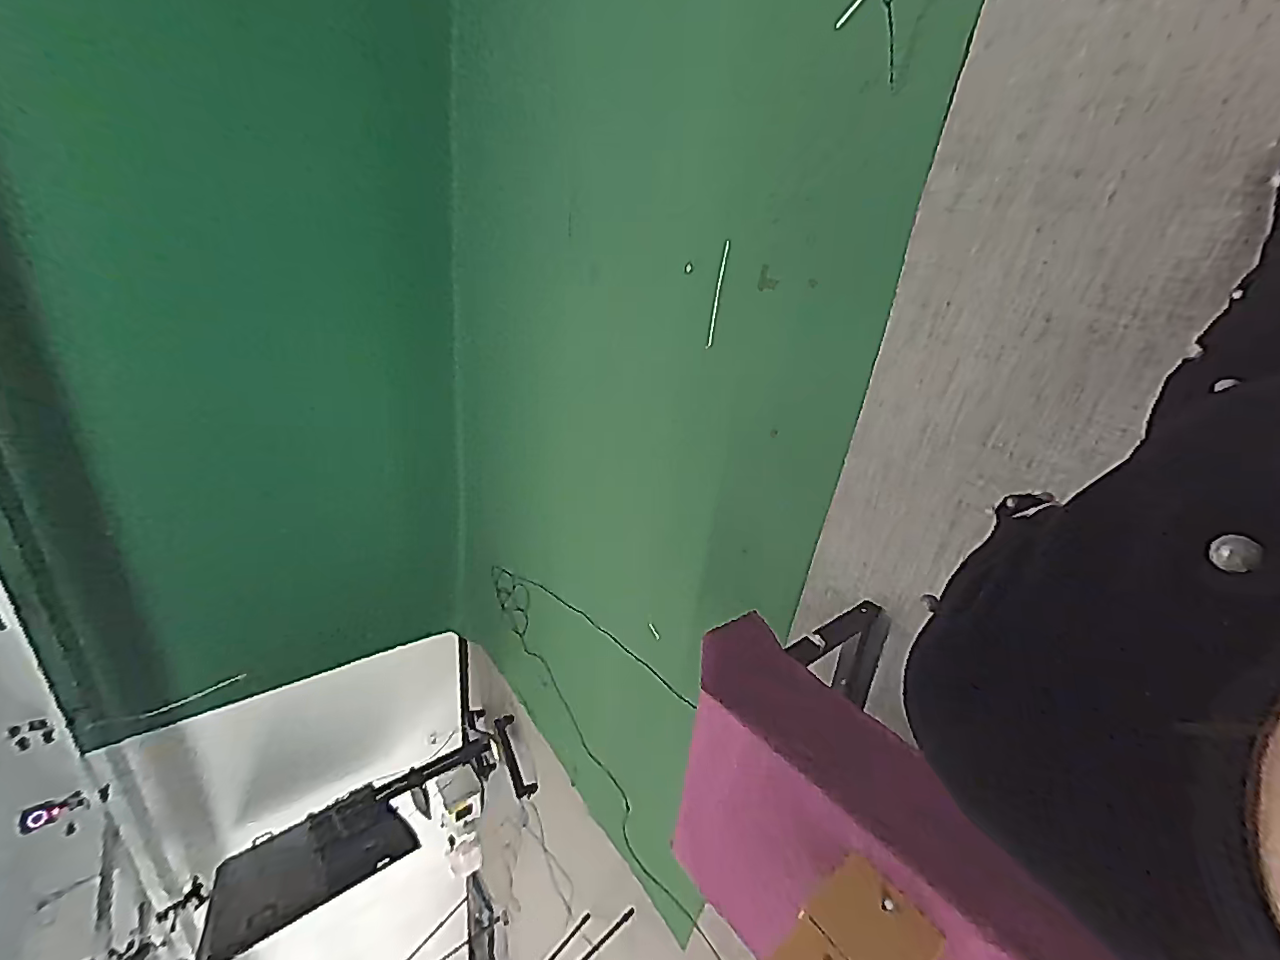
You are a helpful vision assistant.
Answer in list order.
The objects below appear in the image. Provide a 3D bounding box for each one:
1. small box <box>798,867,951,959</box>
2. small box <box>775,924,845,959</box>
[{"bbox_3d":[0.384,0.808,0.918,0.179,0.176,0.168,32,124,44],"label":"small box"},{"bbox_3d":[0.258,0.847,0.822,0.168,0.176,0.179,32,123,42],"label":"small box"}]
